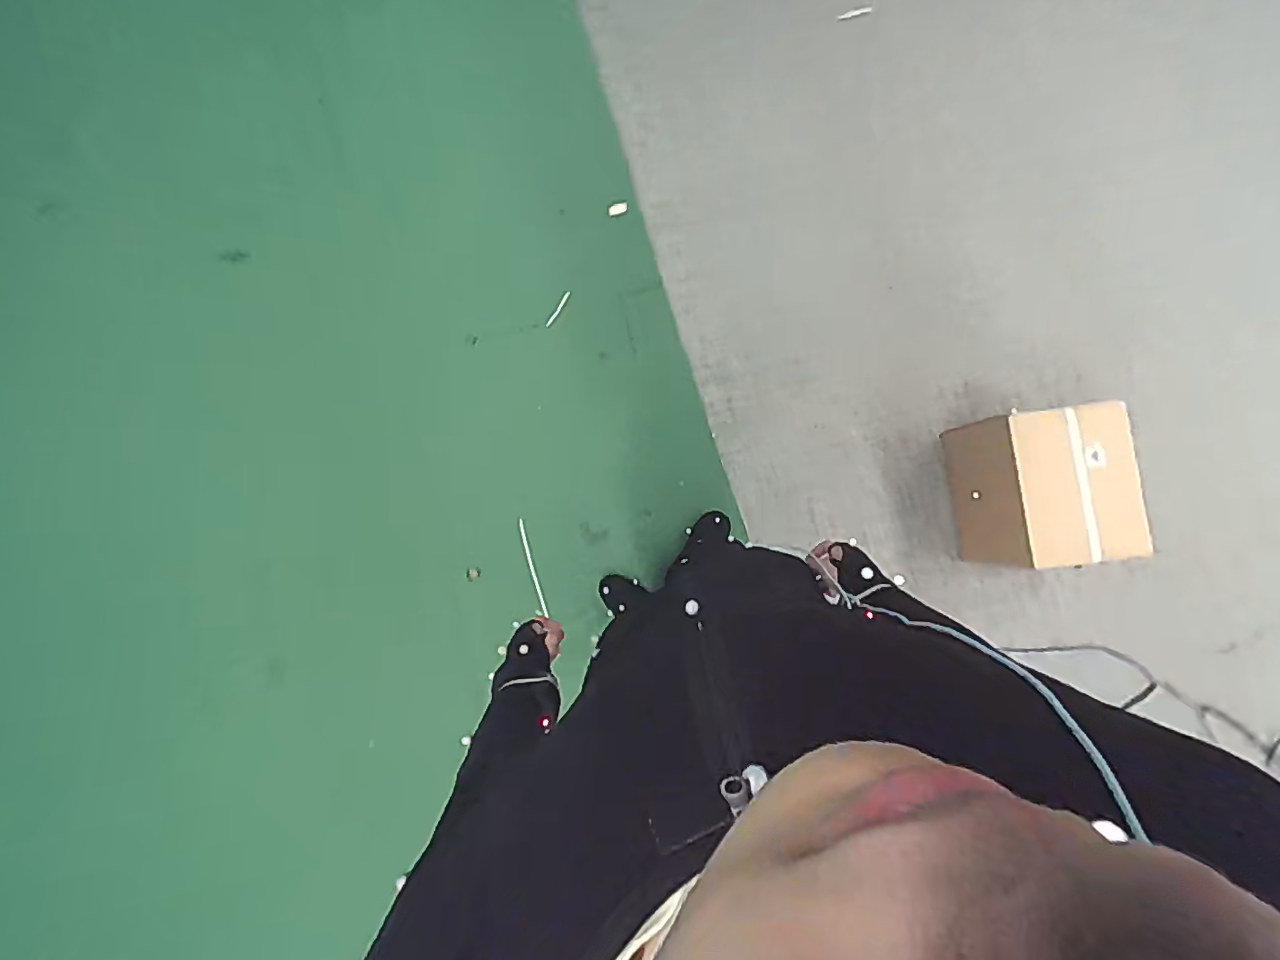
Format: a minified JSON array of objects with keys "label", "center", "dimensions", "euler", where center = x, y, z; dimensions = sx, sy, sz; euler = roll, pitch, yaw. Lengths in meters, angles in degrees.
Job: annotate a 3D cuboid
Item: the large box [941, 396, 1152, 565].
[{"label":"large box","center":[1.104,0.013,1.514],"dimensions":[0.320,0.320,0.408],"euler":[-7,84,-1]}]
